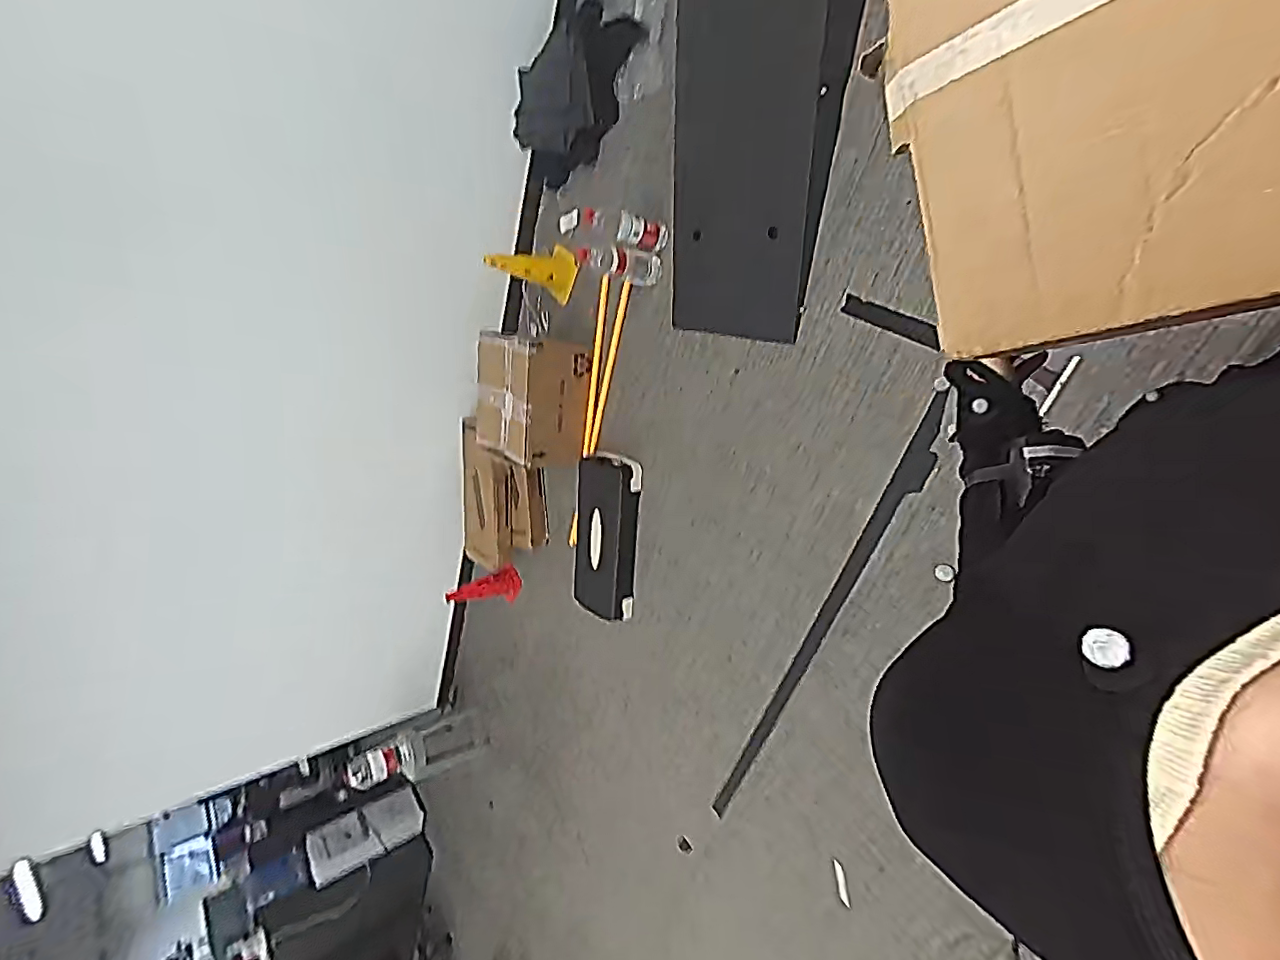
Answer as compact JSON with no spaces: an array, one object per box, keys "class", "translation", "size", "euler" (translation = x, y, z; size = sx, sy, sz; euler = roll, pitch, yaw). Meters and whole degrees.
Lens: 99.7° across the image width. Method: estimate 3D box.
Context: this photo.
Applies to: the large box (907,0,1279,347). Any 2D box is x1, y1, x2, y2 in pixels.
[{"class":"large box","translation":[0.398,-0.271,0.286],"size":[0.408,0.320,0.320],"euler":[-6,97,41]}]
